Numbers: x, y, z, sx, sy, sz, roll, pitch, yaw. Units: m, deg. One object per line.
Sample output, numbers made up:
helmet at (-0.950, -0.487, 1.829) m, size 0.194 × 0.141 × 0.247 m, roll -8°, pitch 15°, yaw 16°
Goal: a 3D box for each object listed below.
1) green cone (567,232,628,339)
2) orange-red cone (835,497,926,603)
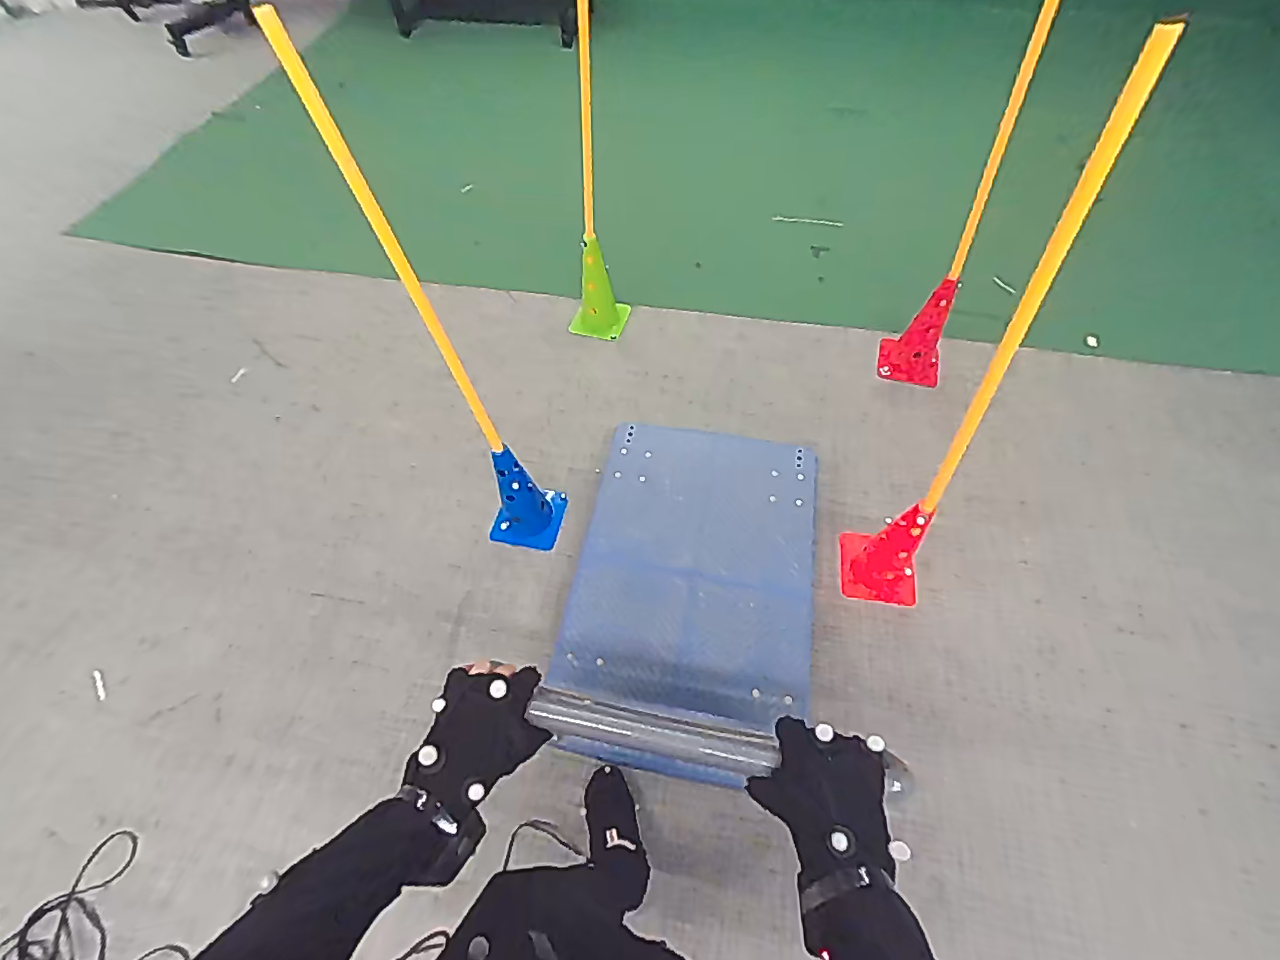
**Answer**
green cone at (-0.171, -0.718, 1.947) m, size 0.202 × 0.368 × 0.200 m, roll 12°, pitch 59°, yaw 11°
orange-red cone at (0.641, 0.150, 1.376) m, size 0.199 × 0.360 × 0.198 m, roll 8°, pitch 58°, yaw 9°
